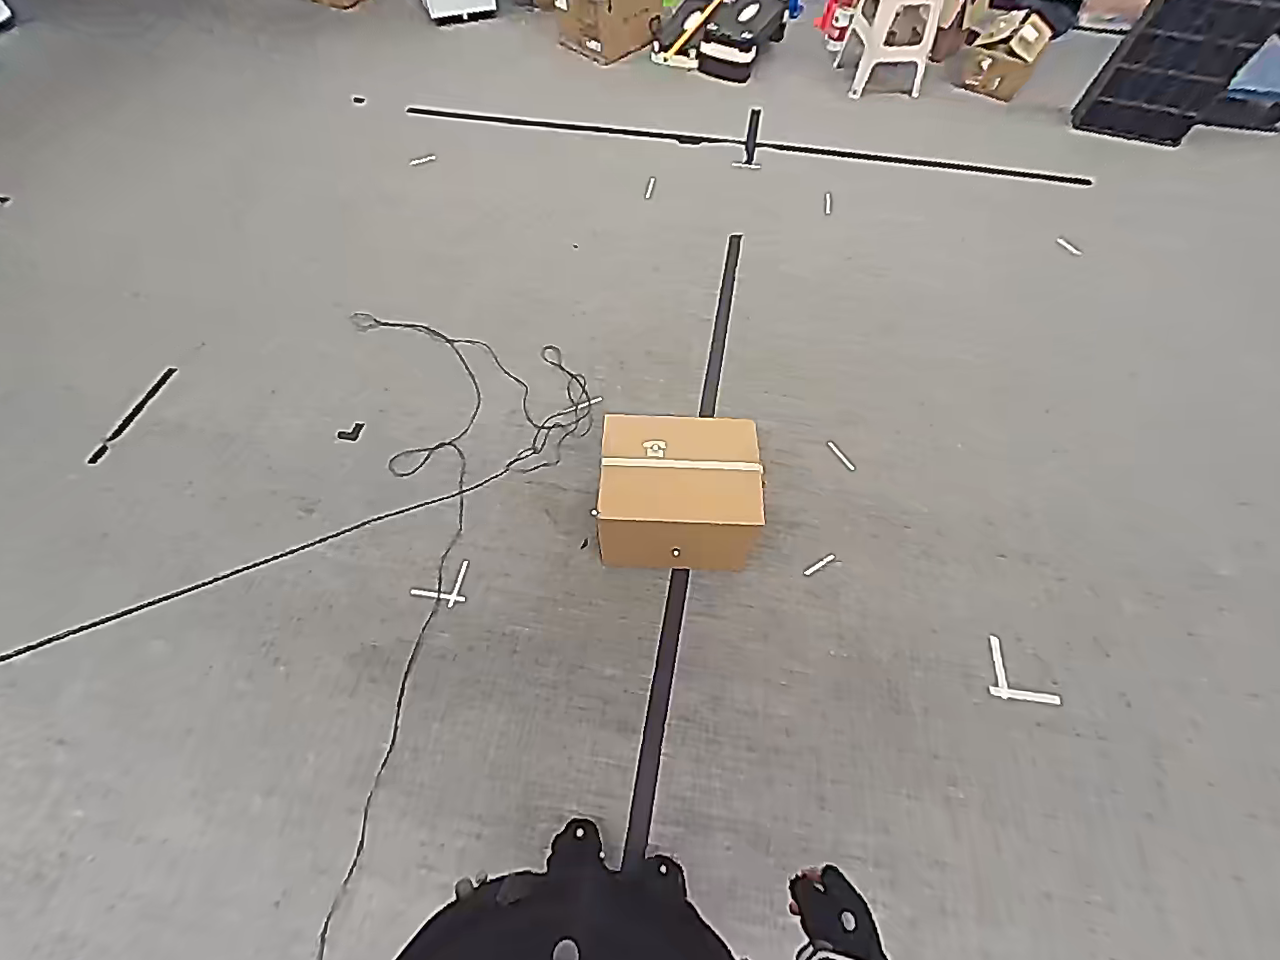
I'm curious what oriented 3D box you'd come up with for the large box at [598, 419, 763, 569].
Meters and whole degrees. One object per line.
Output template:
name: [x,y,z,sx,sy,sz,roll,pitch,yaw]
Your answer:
large box: [0.104,0.047,1.497,0.408,0.320,0.320,2,60,1]
